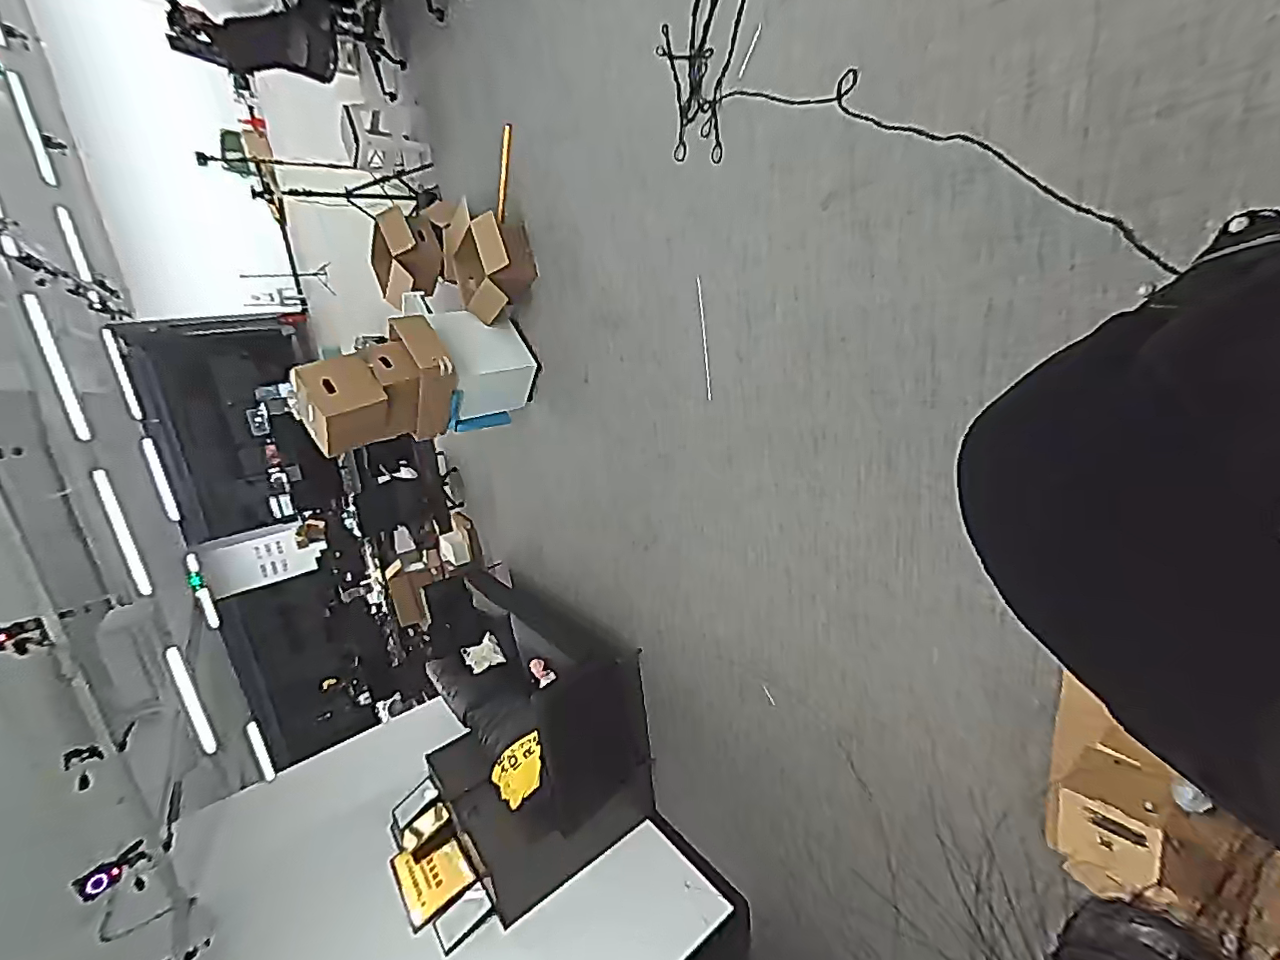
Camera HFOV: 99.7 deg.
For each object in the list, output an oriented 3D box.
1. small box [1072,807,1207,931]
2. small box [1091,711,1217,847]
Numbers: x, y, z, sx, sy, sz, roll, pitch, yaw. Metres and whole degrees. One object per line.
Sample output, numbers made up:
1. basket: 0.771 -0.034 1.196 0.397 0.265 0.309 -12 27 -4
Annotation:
1. small box: 1.209 0.917 1.309 0.179 0.176 0.168 35 132 44
2. small box: 1.180 0.672 1.240 0.168 0.176 0.179 20 121 51
